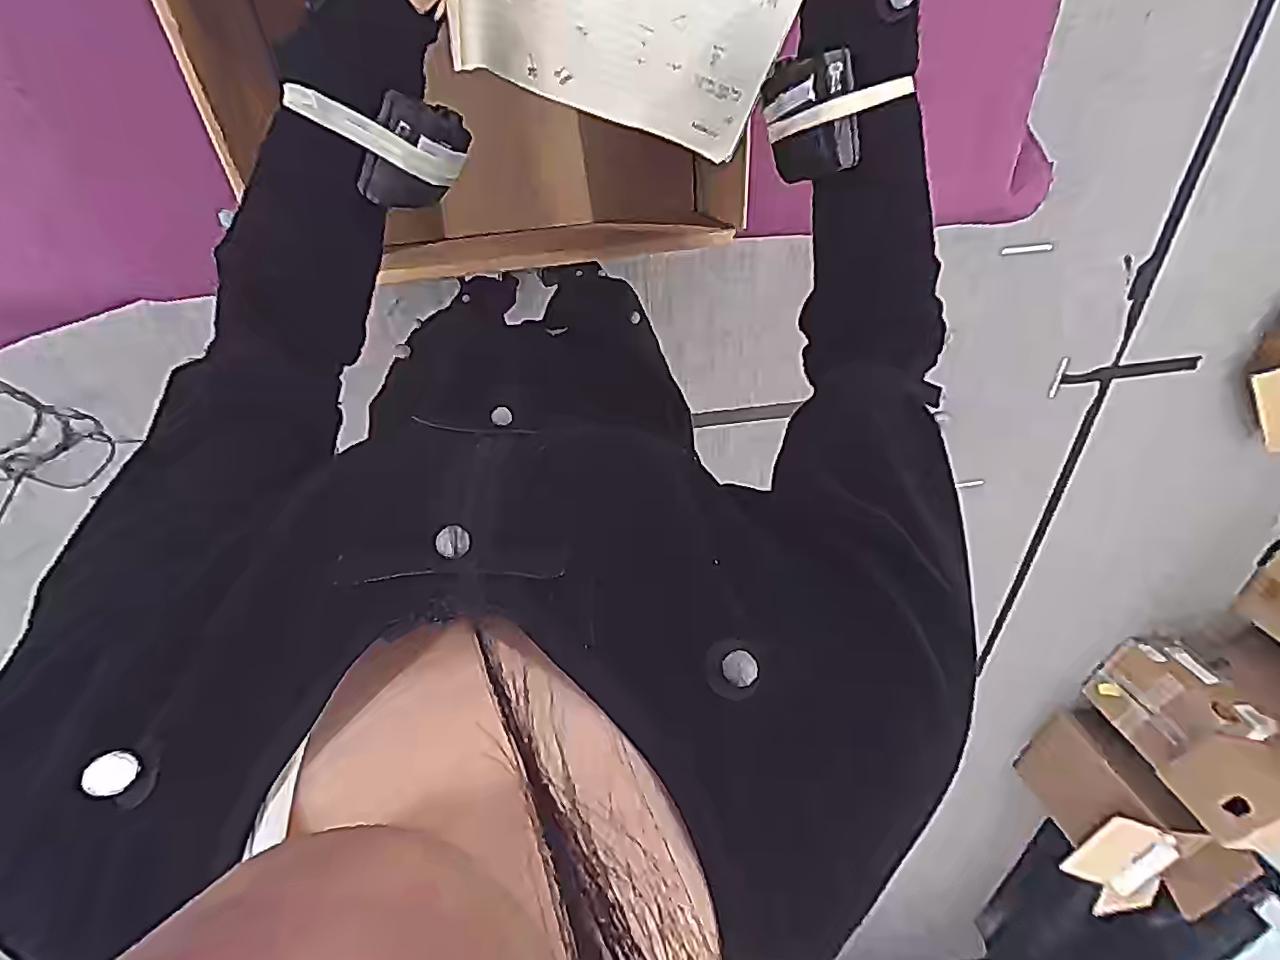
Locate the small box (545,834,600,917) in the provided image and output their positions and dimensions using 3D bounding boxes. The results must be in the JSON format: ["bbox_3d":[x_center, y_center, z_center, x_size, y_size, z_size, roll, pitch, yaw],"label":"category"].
[{"bbox_3d":[-0.236,1.357,1.861,0.179,0.176,0.168,-6,124,-9],"label":"small box"}]
